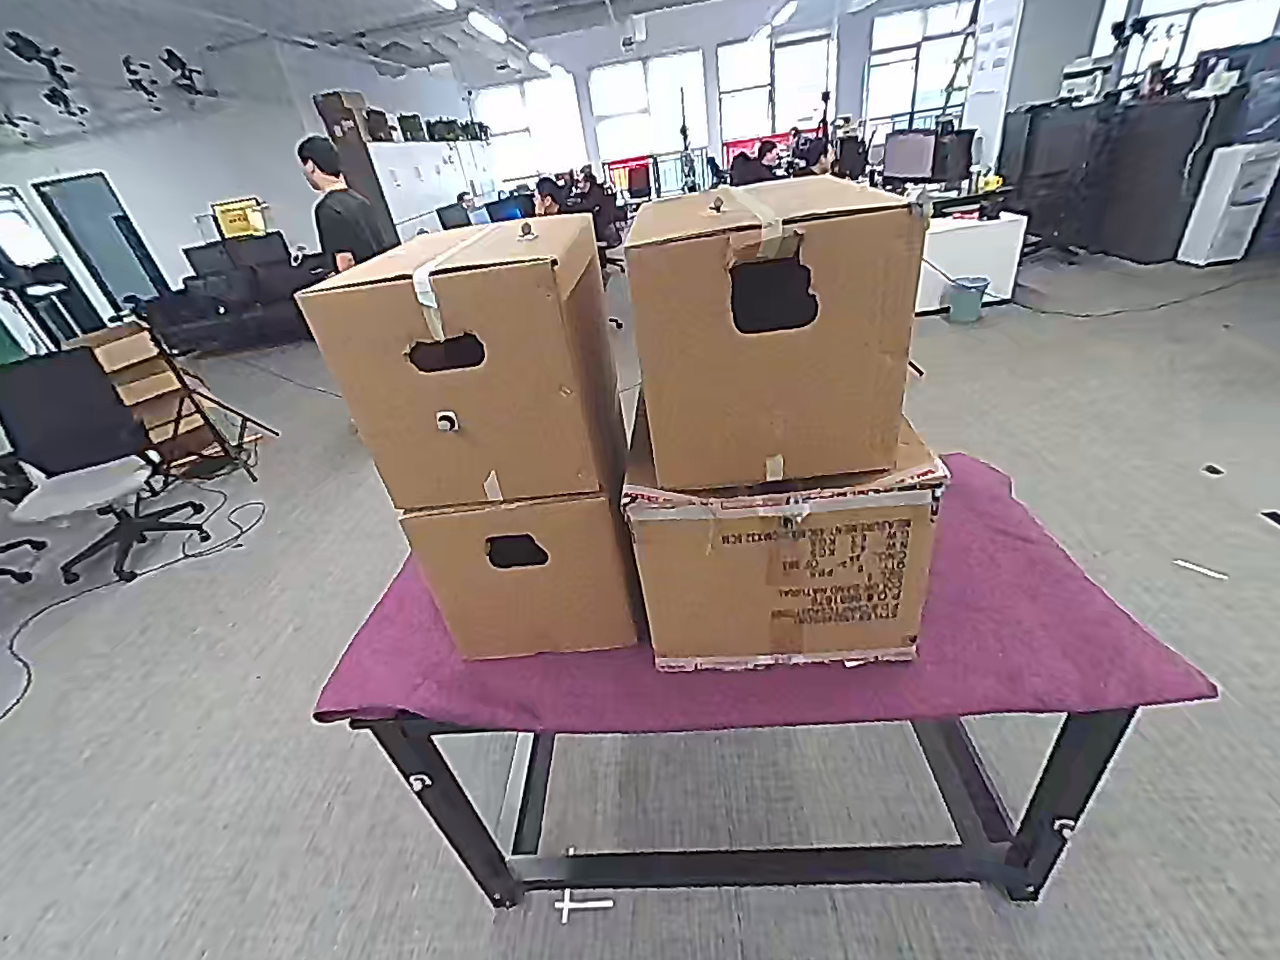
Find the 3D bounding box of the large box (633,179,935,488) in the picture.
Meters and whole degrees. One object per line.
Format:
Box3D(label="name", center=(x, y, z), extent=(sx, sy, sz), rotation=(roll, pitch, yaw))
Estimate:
Box3D(label="large box", center=(0.169, -0.234, 0.796), extent=(0.320, 0.320, 0.408), rotation=(-7, 32, 7))
